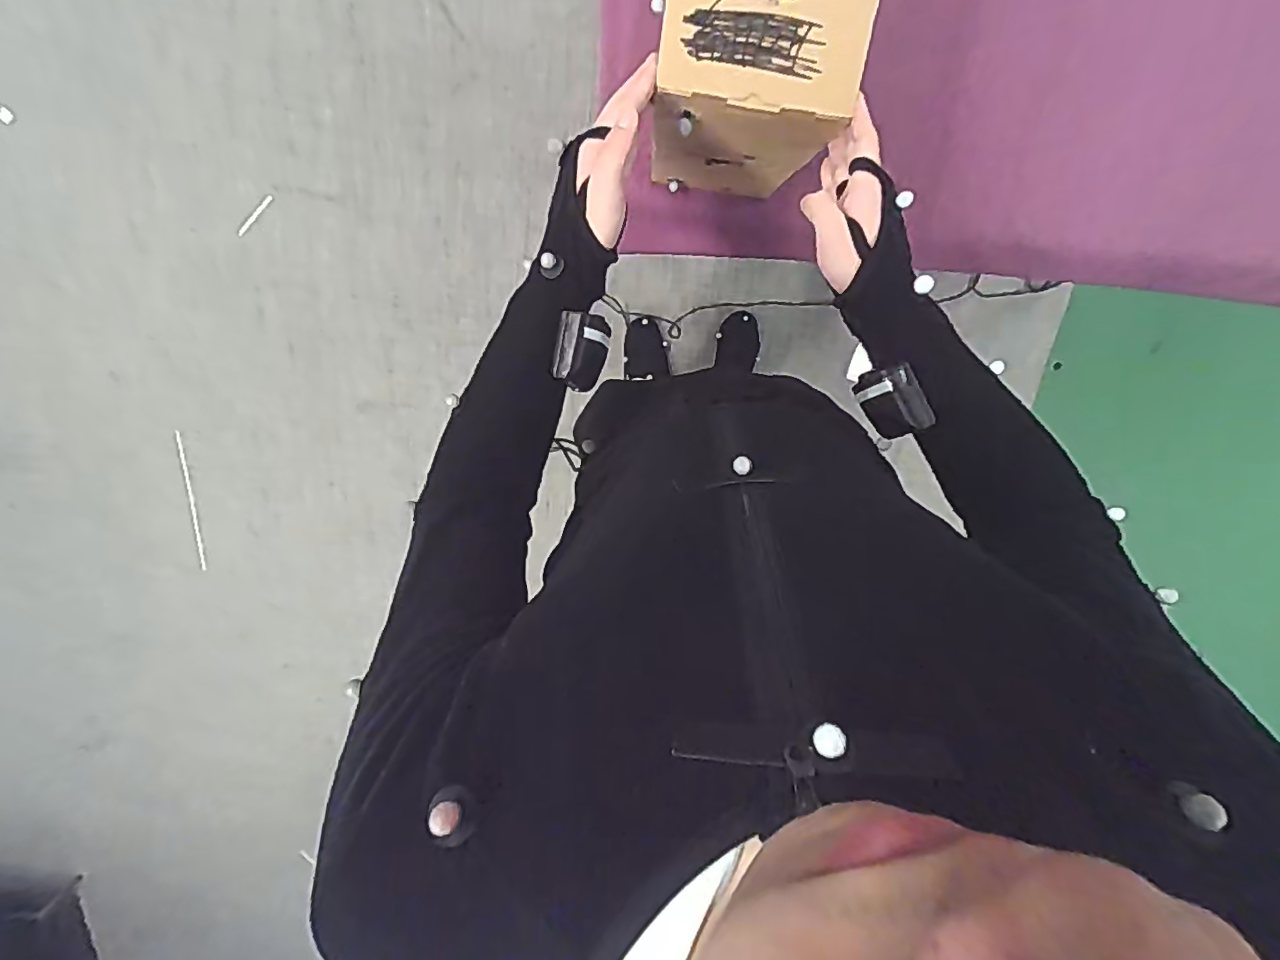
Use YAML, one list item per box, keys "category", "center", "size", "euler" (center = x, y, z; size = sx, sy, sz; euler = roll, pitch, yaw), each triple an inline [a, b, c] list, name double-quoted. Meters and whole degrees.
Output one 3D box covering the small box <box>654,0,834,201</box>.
- category: "small box"
  center: [0.110, -0.453, 0.652]
  size: [0.168, 0.176, 0.179]
  euler: [7, 107, -2]
